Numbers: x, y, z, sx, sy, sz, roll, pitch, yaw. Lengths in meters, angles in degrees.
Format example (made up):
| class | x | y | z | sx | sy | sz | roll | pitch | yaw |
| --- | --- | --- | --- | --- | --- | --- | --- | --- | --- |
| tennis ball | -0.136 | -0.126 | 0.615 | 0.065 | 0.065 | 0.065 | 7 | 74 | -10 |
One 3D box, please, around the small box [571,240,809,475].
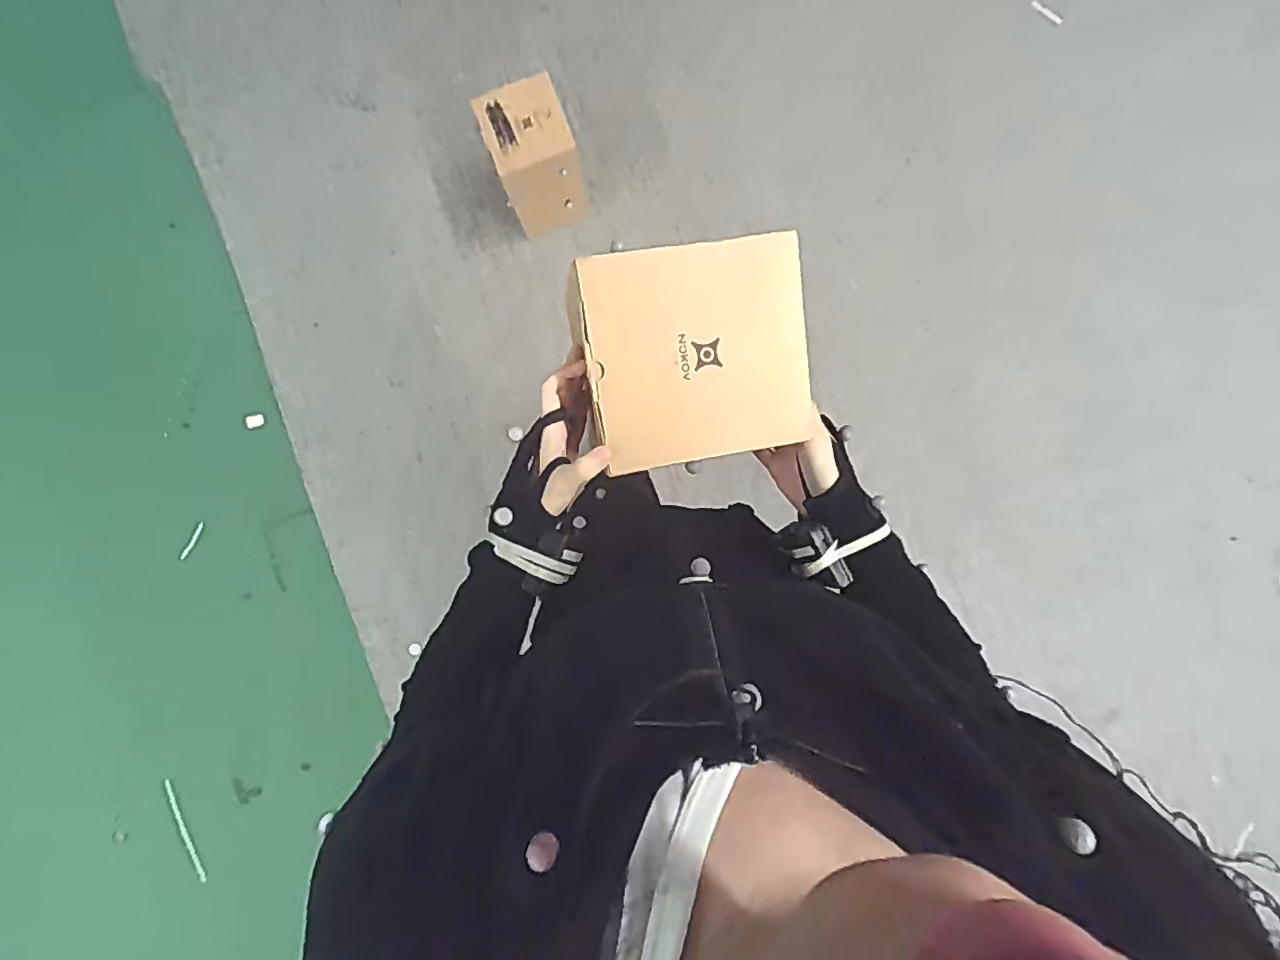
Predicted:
| class | x | y | z | sx | sy | sz | roll | pitch | yaw |
| --- | --- | --- | --- | --- | --- | --- | --- | --- | --- |
| small box | 0.036 | -0.112 | 0.504 | 0.179 | 0.176 | 0.168 | -10 | 102 | -6 |
